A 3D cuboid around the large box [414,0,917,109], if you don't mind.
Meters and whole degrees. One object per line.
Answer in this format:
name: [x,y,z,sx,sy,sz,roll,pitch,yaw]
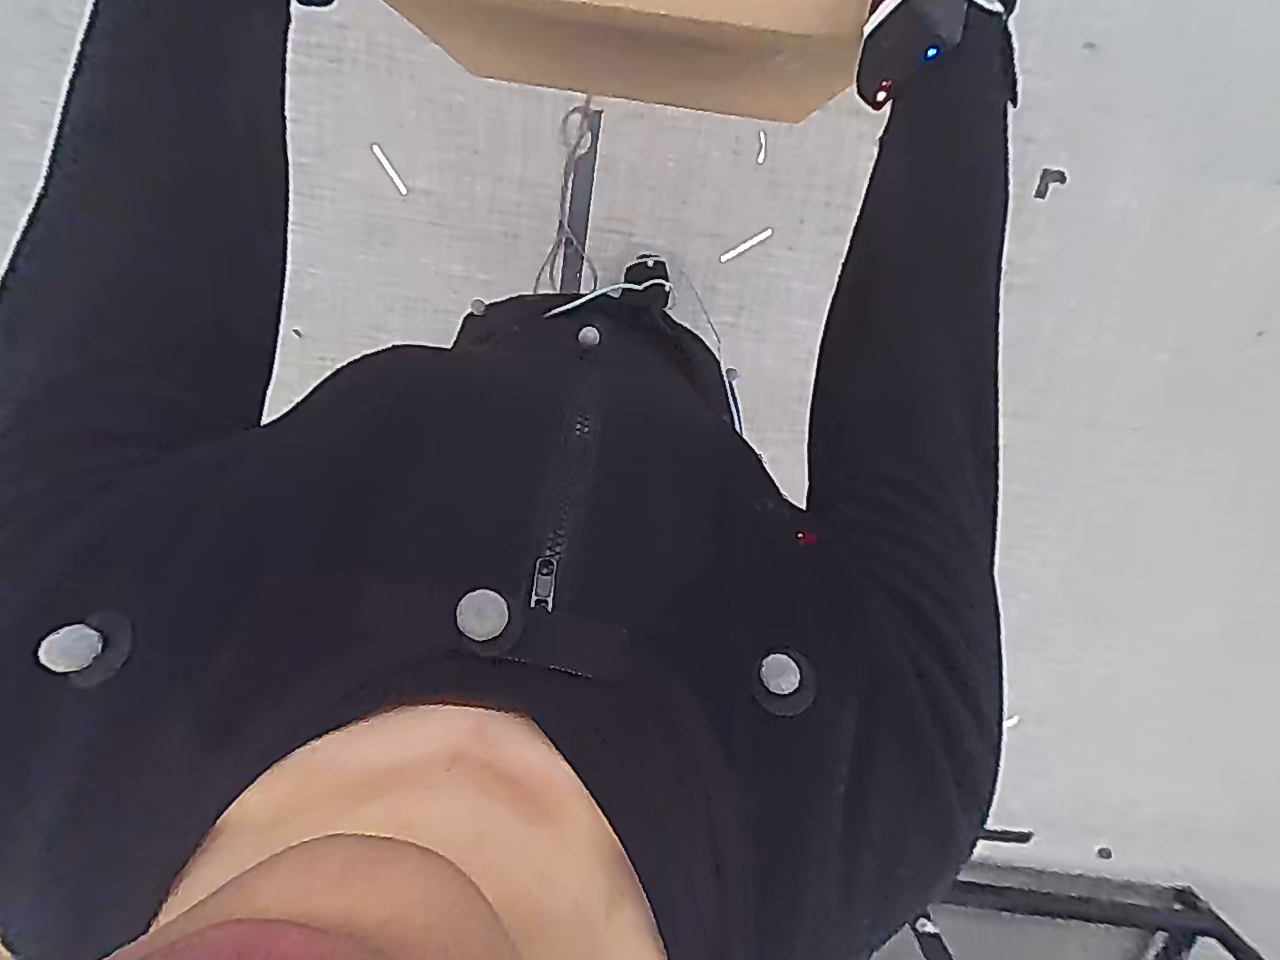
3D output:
large box: [0.017,-0.547,0.457,0.408,0.320,0.320,7,116,-2]
